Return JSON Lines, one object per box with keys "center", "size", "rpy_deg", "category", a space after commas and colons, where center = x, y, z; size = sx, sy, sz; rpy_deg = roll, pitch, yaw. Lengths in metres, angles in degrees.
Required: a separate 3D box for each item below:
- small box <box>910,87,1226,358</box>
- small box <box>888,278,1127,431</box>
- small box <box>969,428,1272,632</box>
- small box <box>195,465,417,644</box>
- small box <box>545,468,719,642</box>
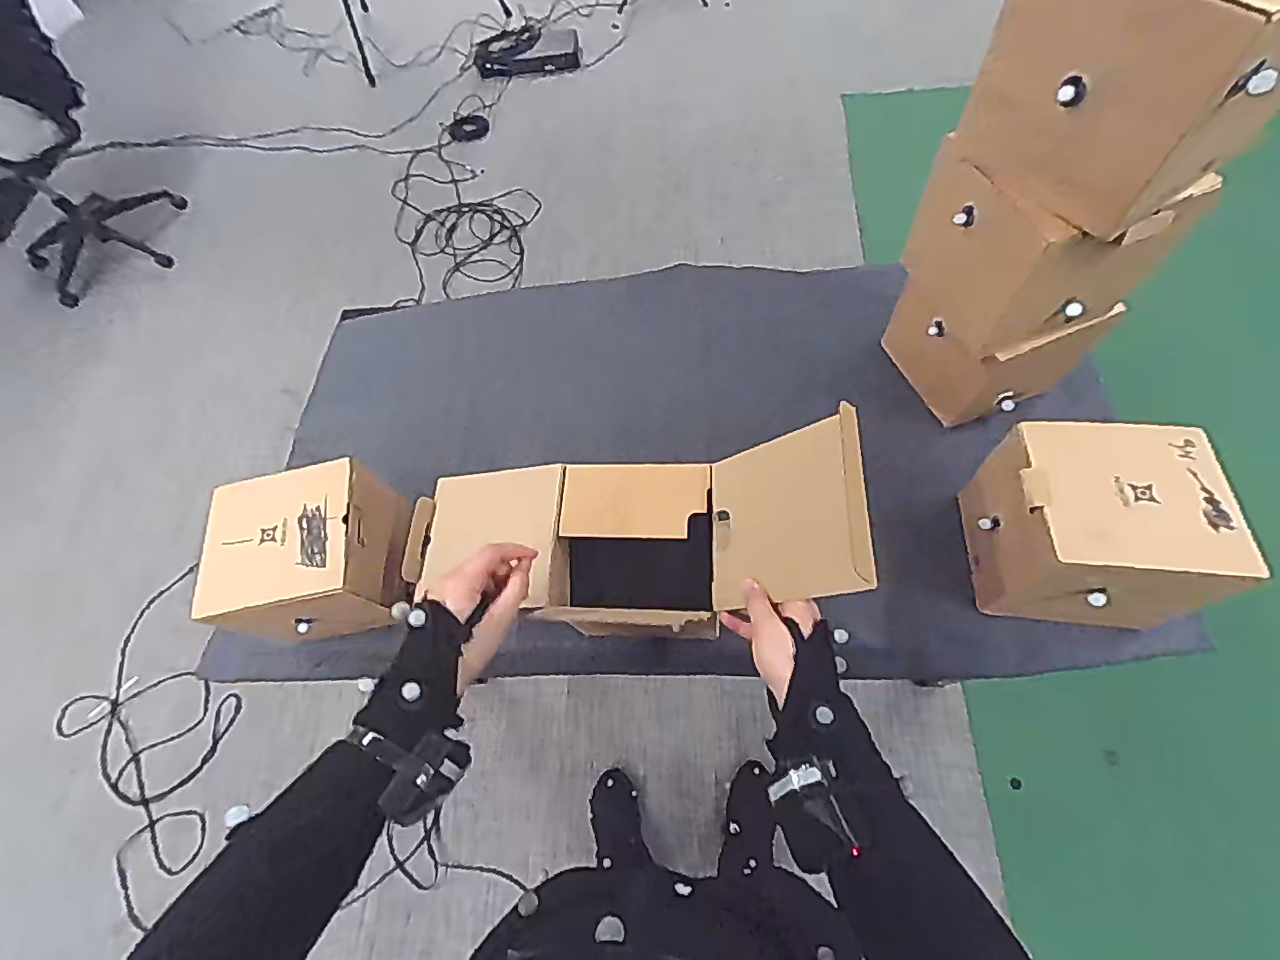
{"center": [0.424, -0.265, 0.581], "size": [0.168, 0.176, 0.179], "rpy_deg": [-19, 64, 2], "category": "small box"}
{"center": [0.466, -0.196, 0.725], "size": [0.168, 0.176, 0.179], "rpy_deg": [-22, 65, -1], "category": "small box"}
{"center": [0.488, 0.059, 0.592], "size": [0.179, 0.176, 0.168], "rpy_deg": [3, 61, 10], "category": "small box"}
{"center": [-0.403, 0.103, 0.689], "size": [0.179, 0.176, 0.168], "rpy_deg": [-12, 64, 2], "category": "small box"}
{"center": [0.004, 0.095, 0.643], "size": [0.179, 0.176, 0.168], "rpy_deg": [-1, 65, 8], "category": "small box"}
